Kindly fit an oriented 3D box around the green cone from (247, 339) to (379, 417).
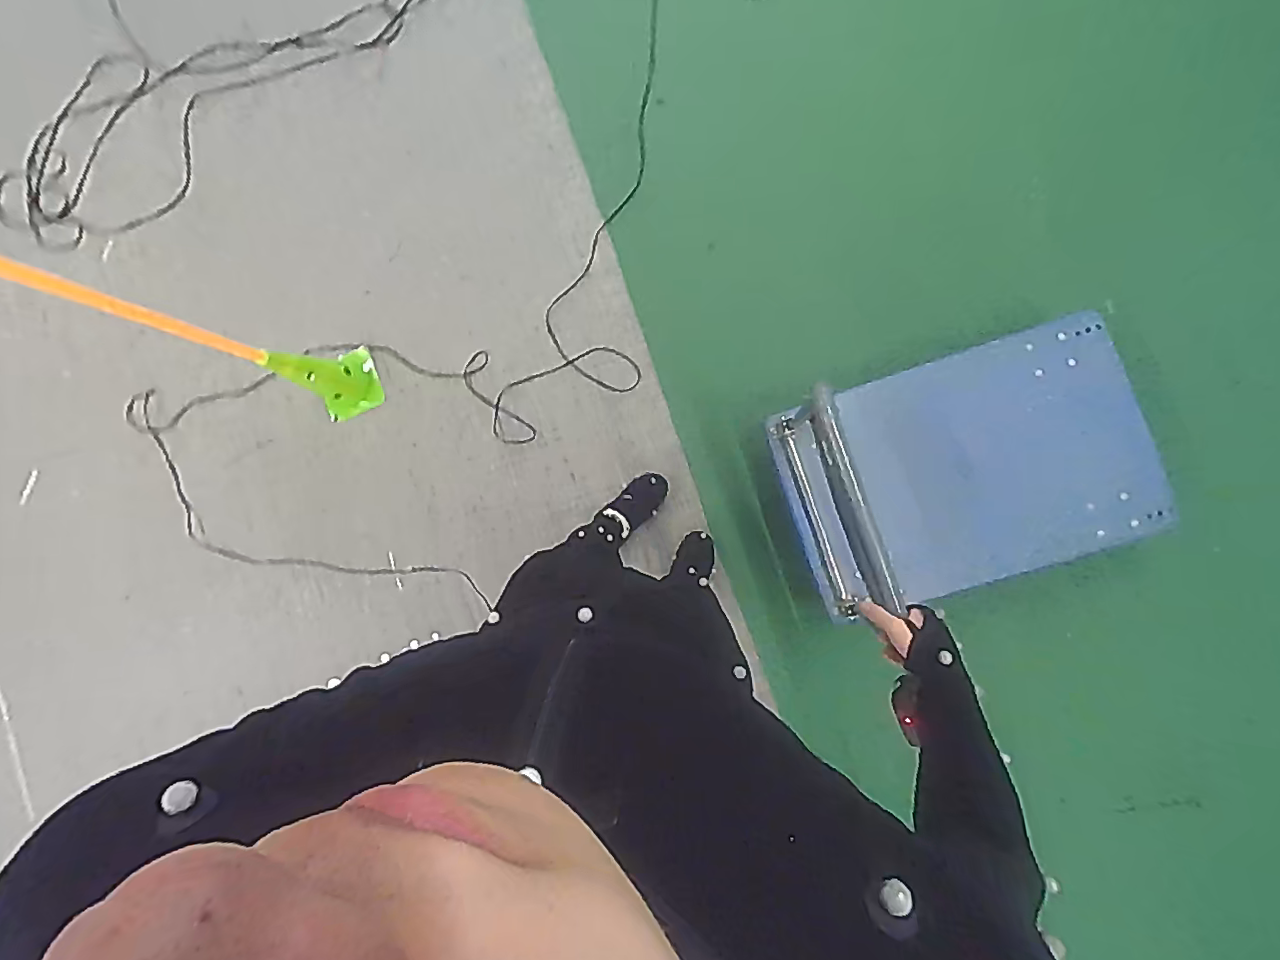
[{"bbox_3d":[-0.975,-0.334,1.578,0.200,0.368,0.202,-23,84,6],"label":"green cone"}]
